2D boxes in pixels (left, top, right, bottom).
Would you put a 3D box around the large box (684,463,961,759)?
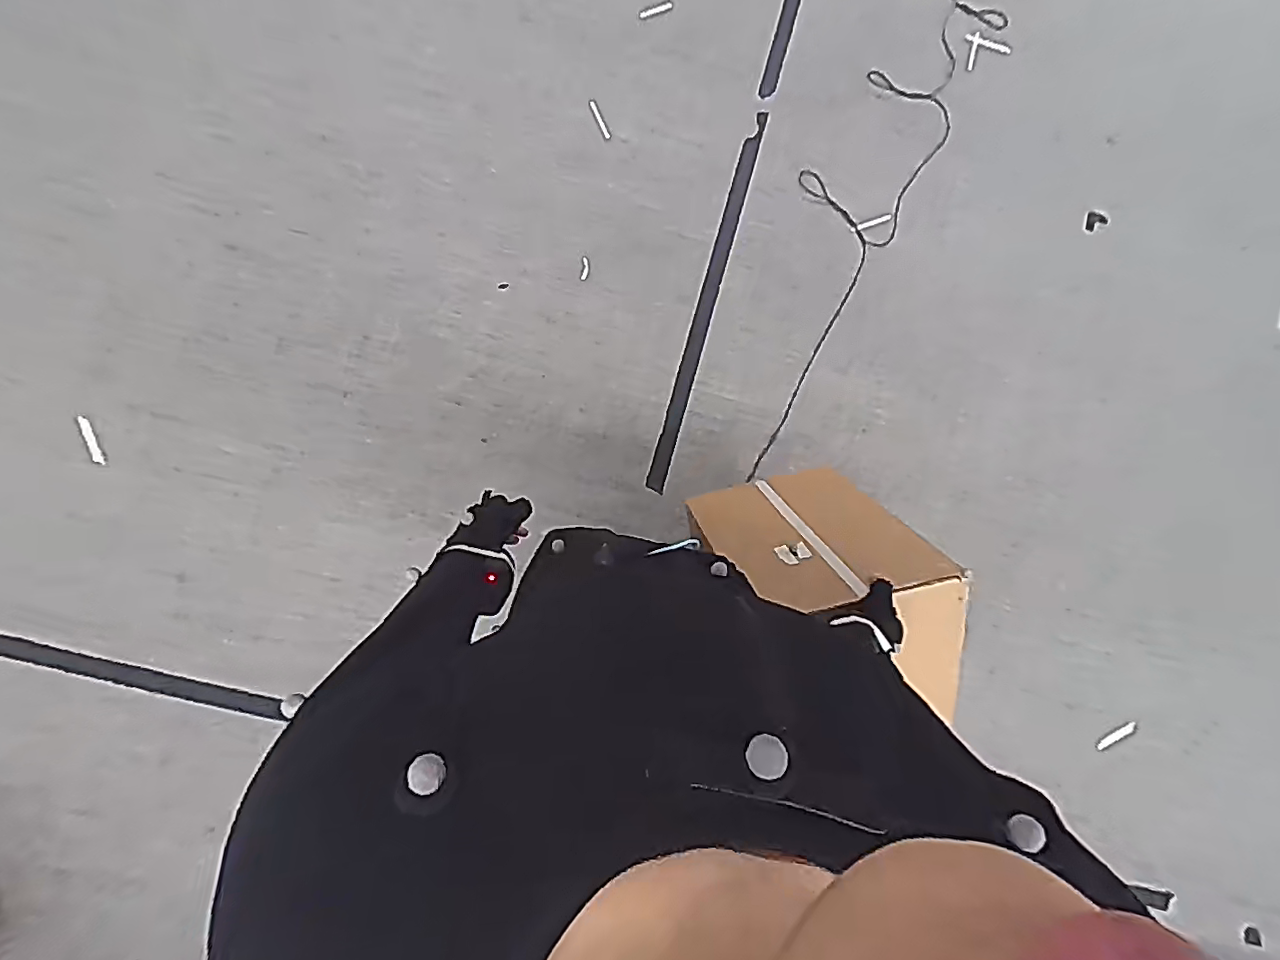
[{"bbox_3d":[0.295,0.209,0.995,0.320,0.408,0.320,-13,117,-5],"label":"large box"}]
